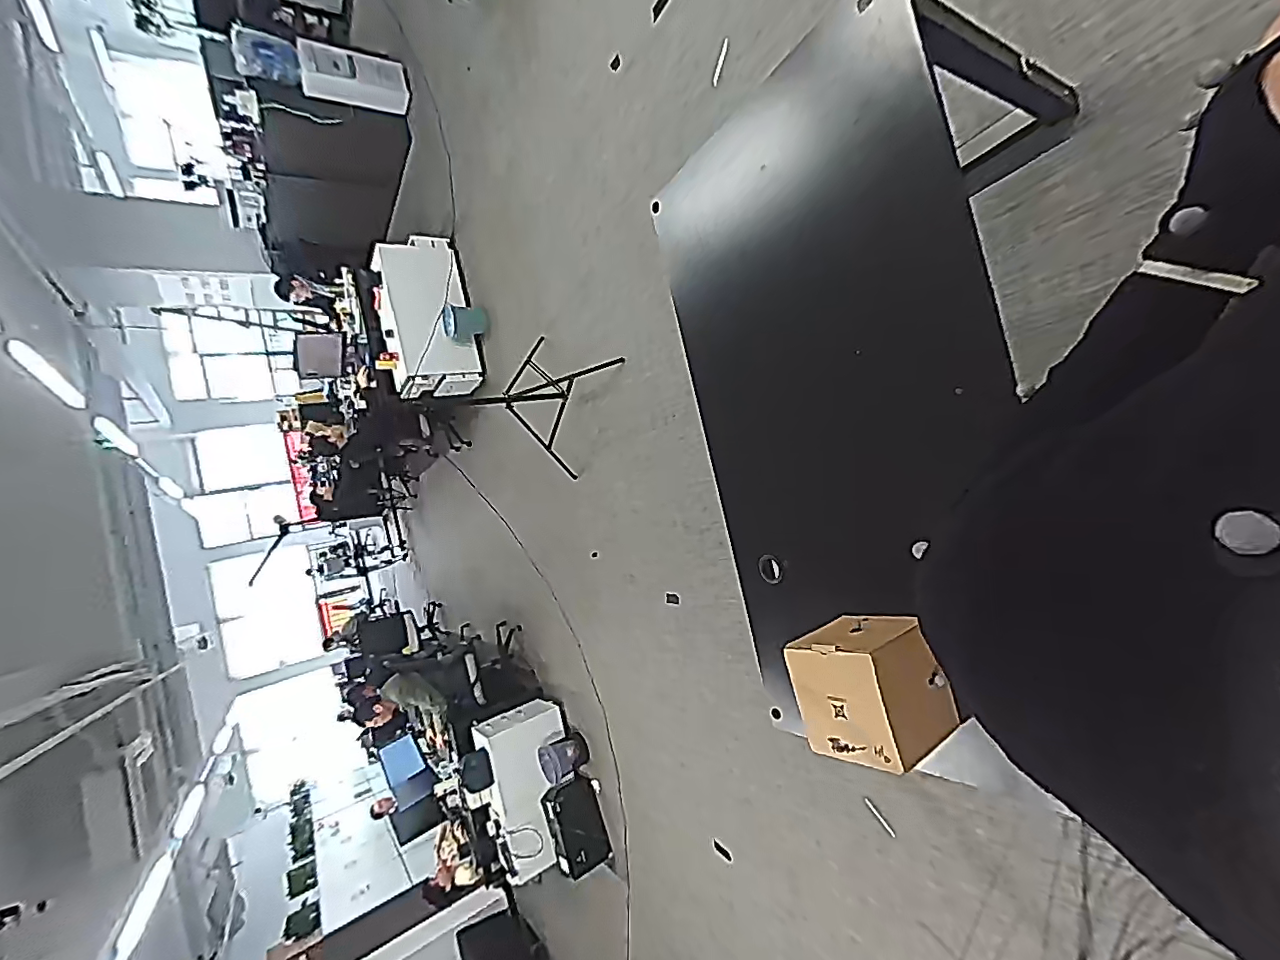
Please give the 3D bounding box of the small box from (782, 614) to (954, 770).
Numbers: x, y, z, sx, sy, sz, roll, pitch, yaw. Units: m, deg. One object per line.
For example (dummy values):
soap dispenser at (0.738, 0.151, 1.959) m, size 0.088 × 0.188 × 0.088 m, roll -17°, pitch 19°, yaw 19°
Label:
small box at (0.362, 0.320, 0.862) m, size 0.168 × 0.176 × 0.179 m, roll -20°, pitch 82°, yaw 56°
